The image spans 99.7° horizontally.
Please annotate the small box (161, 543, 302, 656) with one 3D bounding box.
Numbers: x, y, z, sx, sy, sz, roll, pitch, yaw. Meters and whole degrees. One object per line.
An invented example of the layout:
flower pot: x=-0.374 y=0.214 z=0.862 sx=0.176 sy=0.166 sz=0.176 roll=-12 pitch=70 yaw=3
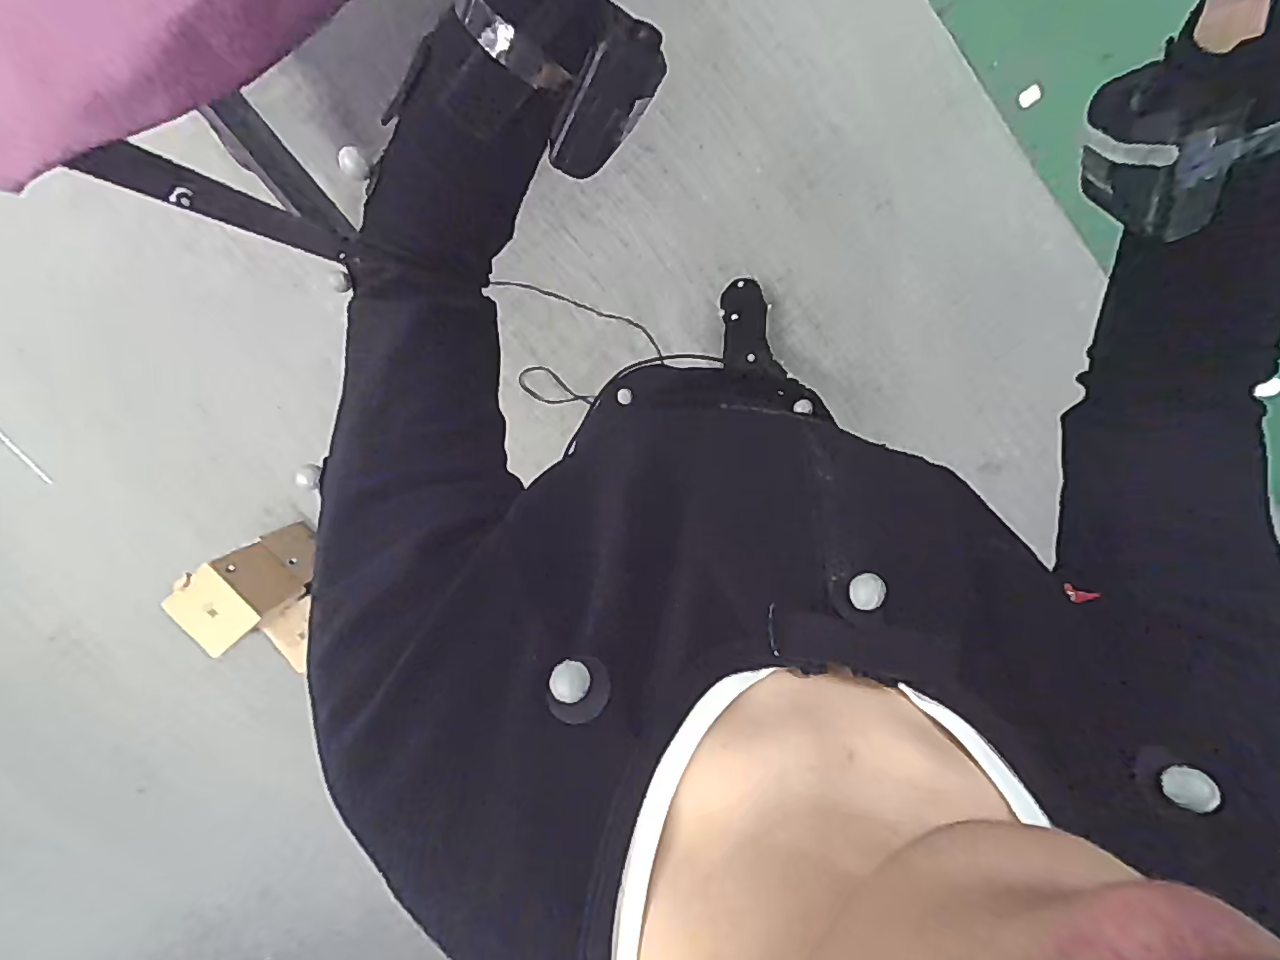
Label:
small box: x=-0.973 y=0.280 z=1.306 sx=0.168 sy=0.176 sz=0.179 roll=-40 pitch=96 yaw=8
